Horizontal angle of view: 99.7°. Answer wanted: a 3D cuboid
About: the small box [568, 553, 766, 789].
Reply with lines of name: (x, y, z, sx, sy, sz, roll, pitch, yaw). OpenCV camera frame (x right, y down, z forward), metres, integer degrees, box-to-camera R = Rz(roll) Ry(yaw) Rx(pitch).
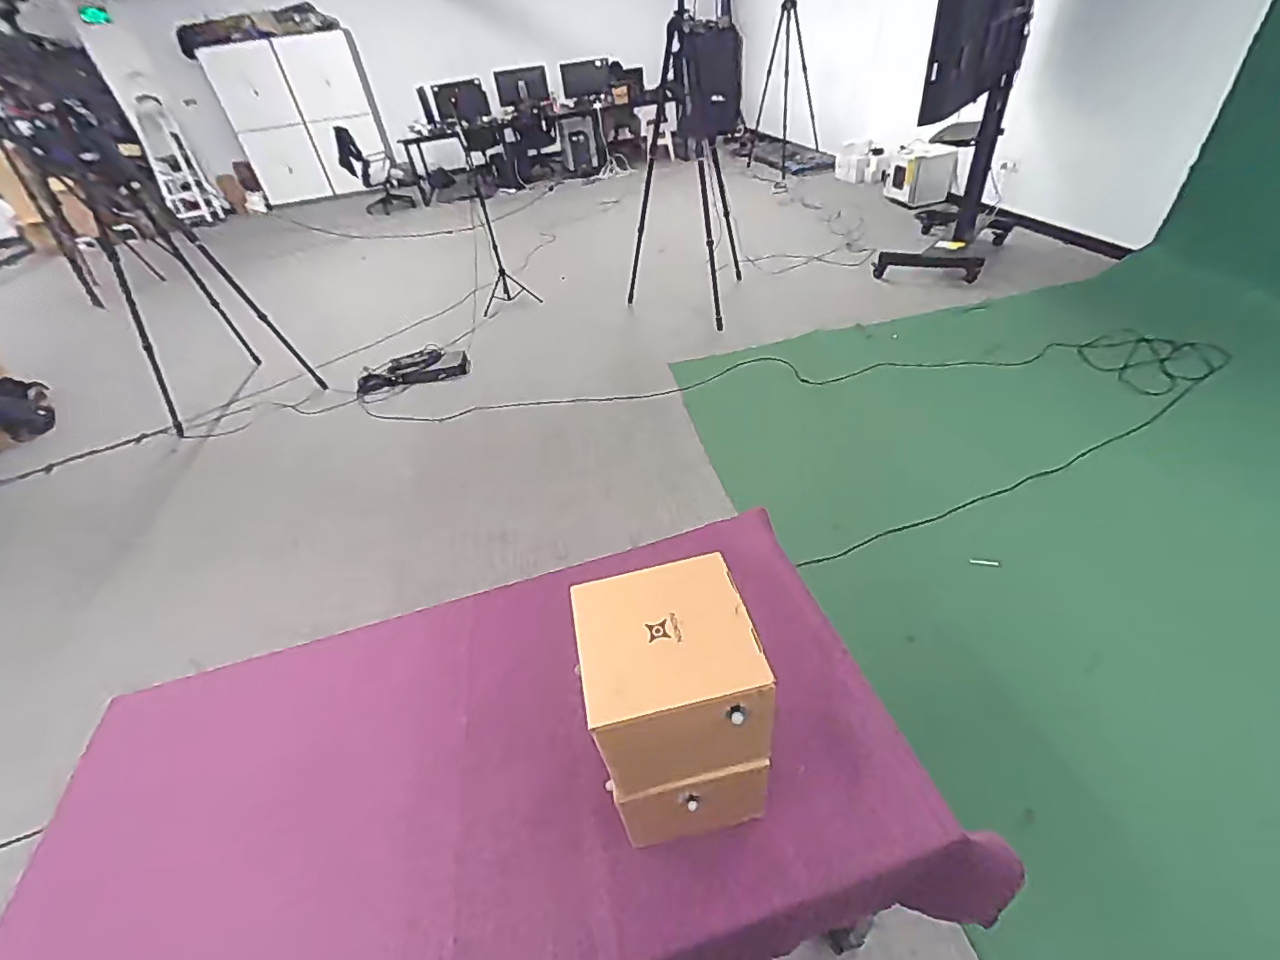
small box: (0.028, 0.212, 0.598, 0.179, 0.176, 0.168, -12, 41, -5)

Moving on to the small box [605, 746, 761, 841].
small box: (0.049, 0.338, 0.699, 0.179, 0.176, 0.168, -11, 41, -3)
